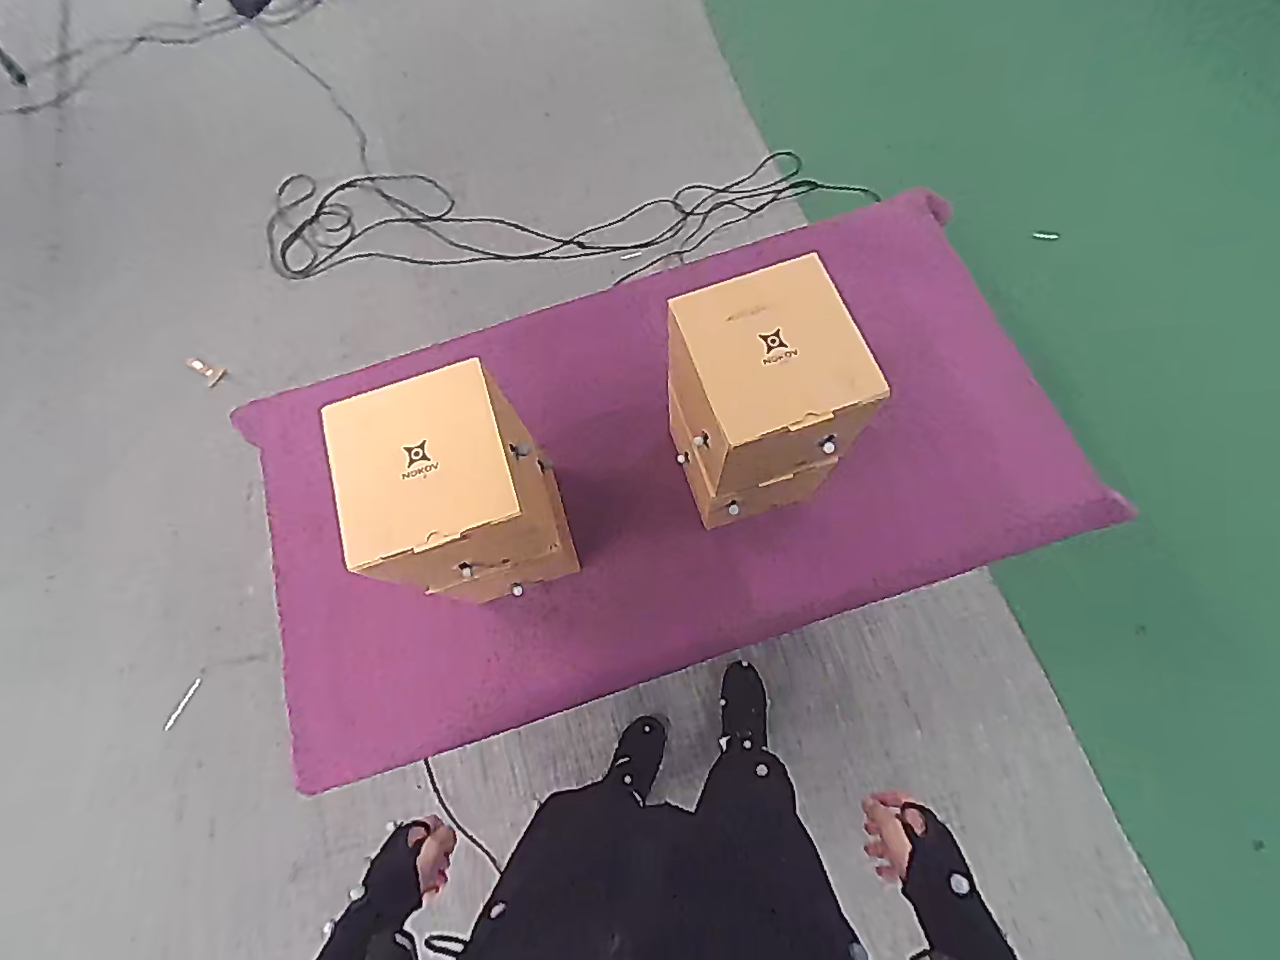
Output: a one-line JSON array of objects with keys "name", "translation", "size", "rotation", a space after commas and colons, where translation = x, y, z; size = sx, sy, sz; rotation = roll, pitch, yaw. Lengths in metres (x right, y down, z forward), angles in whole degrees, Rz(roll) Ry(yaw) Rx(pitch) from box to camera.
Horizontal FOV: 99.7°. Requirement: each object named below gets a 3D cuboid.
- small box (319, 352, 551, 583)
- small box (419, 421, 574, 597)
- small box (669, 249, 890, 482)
[{"name": "small box", "translation": [-0.207, -0.003, 0.582], "size": [0.168, 0.176, 0.179], "rotation": [-19, 73, -3]}, {"name": "small box", "translation": [-0.198, 0.048, 0.737], "size": [0.168, 0.176, 0.179], "rotation": [-17, 73, -2]}, {"name": "small box", "translation": [0.136, -0.110, 0.597], "size": [0.168, 0.176, 0.179], "rotation": [-18, 72, -3]}]
